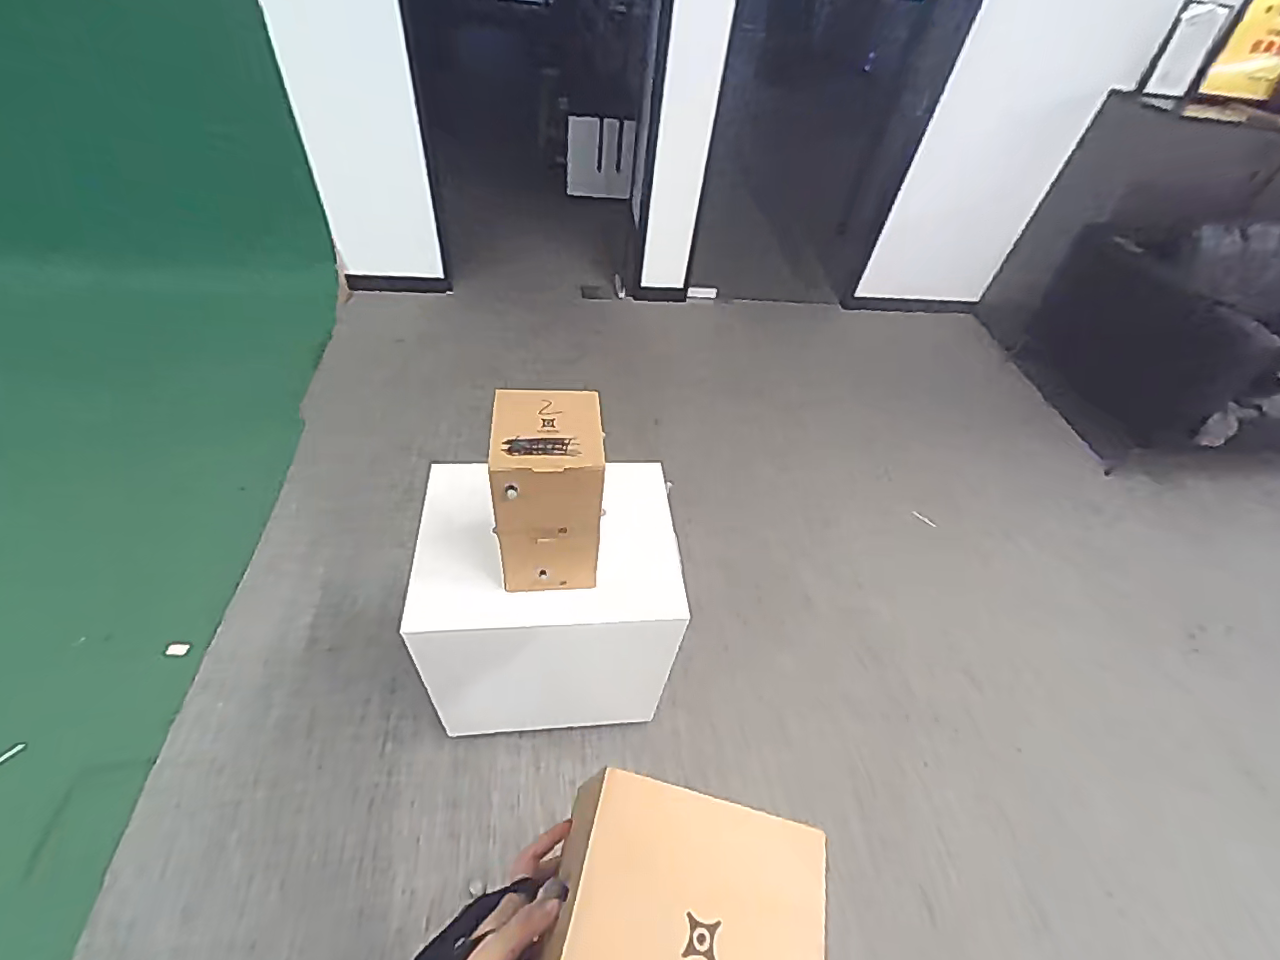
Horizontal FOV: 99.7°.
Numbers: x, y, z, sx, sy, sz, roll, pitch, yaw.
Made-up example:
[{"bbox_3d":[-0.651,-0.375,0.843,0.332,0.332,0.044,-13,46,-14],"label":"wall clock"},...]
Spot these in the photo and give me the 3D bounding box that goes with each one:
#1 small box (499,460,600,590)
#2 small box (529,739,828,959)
[{"bbox_3d":[-0.165,0.082,0.989,0.168,0.176,0.179,-1,47,-9],"label":"small box"},{"bbox_3d":[0.018,0.316,0.391,0.168,0.176,0.179,18,53,-2],"label":"small box"}]
